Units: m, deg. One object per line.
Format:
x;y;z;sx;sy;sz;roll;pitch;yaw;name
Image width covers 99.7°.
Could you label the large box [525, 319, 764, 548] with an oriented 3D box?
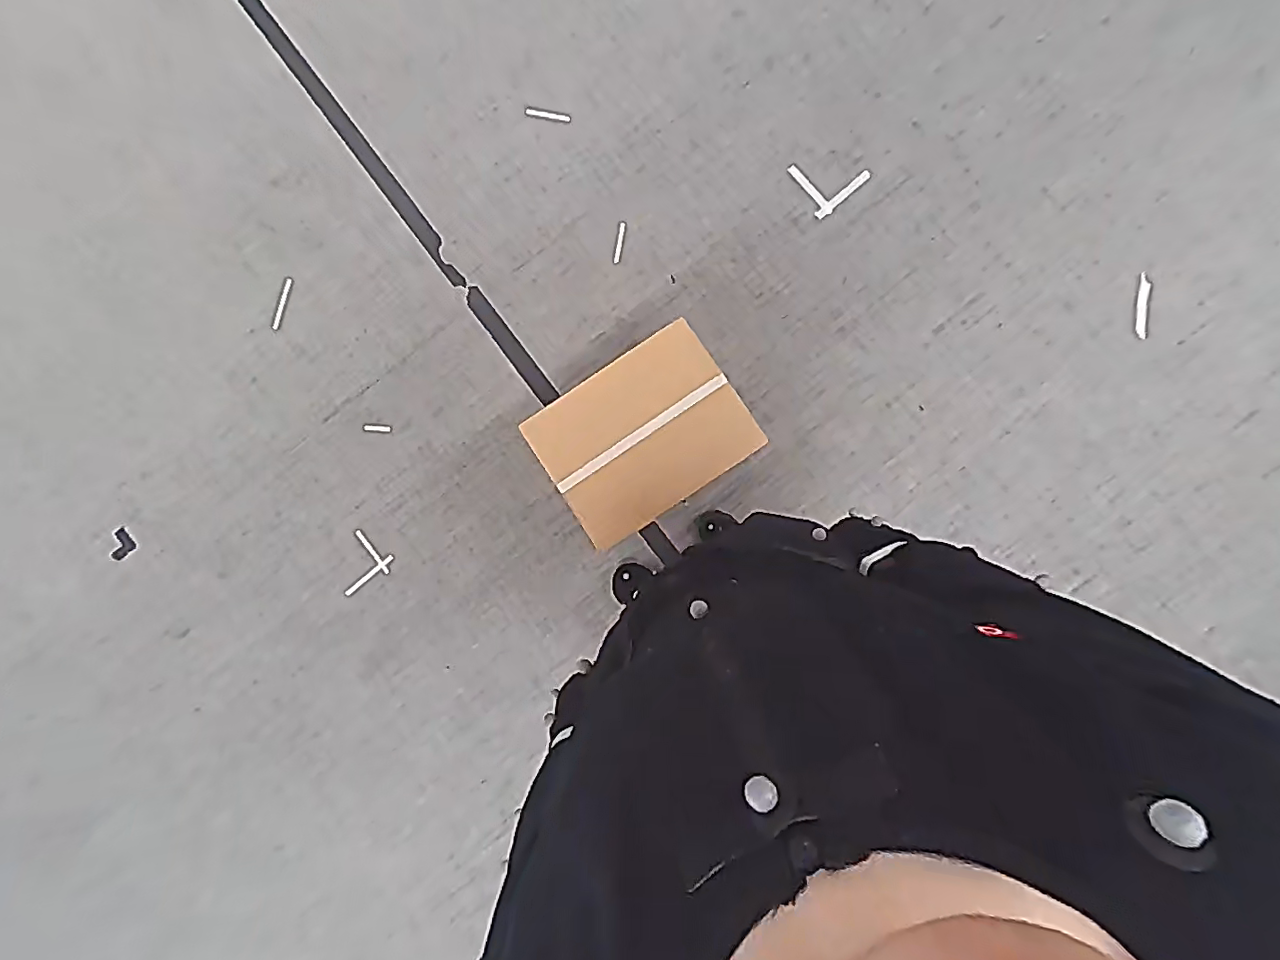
0.013;-0.086;1.246;0.408;0.320;0.320;-34;87;0;large box
